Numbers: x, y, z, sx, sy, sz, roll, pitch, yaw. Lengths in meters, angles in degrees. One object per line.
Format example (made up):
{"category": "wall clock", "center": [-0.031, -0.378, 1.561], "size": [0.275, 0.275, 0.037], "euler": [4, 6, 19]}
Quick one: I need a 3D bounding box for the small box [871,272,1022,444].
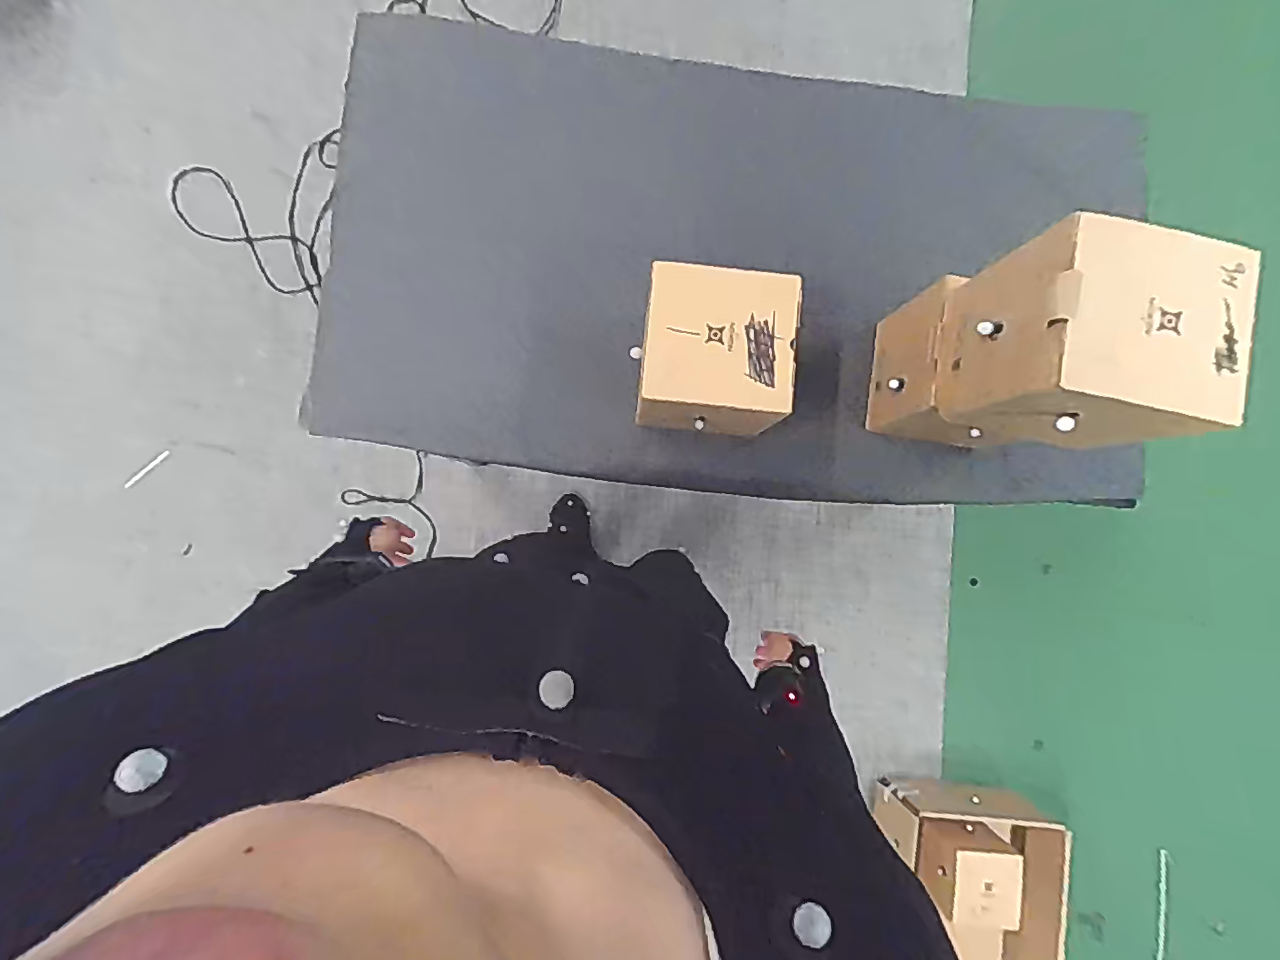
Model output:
{"category": "small box", "center": [0.428, -0.145, 0.707], "size": [0.179, 0.176, 0.168], "euler": [9, 87, -4]}

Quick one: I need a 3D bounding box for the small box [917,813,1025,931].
{"category": "small box", "center": [0.819, 0.968, 1.351], "size": [0.168, 0.176, 0.179], "euler": [6, 88, -1]}

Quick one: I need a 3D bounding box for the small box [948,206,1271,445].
{"category": "small box", "center": [0.447, -0.137, 0.543], "size": [0.179, 0.176, 0.168], "euler": [11, 86, -2]}

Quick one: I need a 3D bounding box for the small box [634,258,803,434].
{"category": "small box", "center": [0.089, -0.157, 0.688], "size": [0.179, 0.176, 0.168], "euler": [6, 85, -1]}
